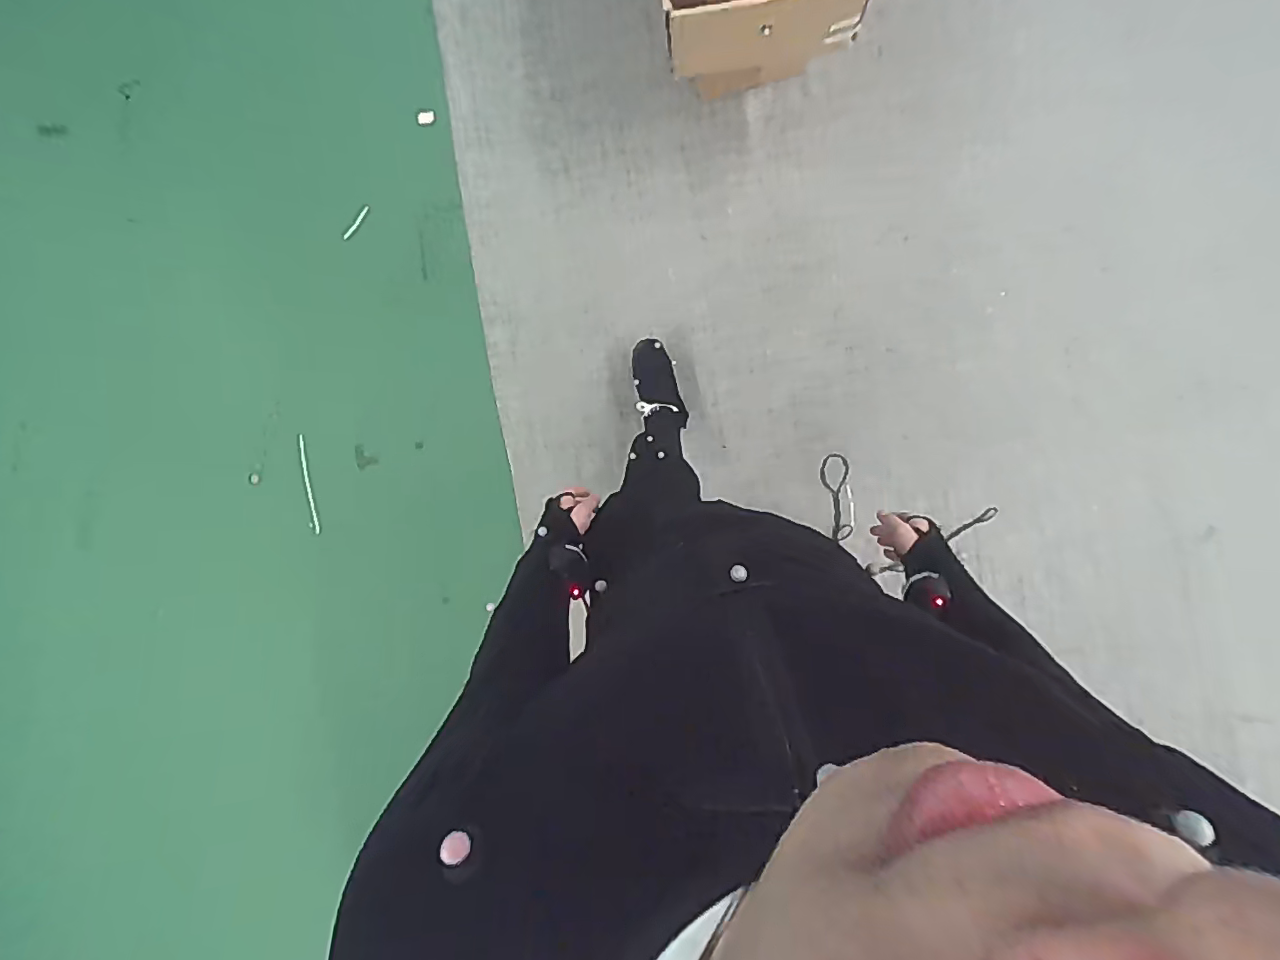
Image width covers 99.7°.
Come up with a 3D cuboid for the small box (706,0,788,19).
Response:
[{"bbox_3d":[0.209,-1.033,1.036,0.168,0.176,0.179,-5,93,5],"label":"small box"}]
